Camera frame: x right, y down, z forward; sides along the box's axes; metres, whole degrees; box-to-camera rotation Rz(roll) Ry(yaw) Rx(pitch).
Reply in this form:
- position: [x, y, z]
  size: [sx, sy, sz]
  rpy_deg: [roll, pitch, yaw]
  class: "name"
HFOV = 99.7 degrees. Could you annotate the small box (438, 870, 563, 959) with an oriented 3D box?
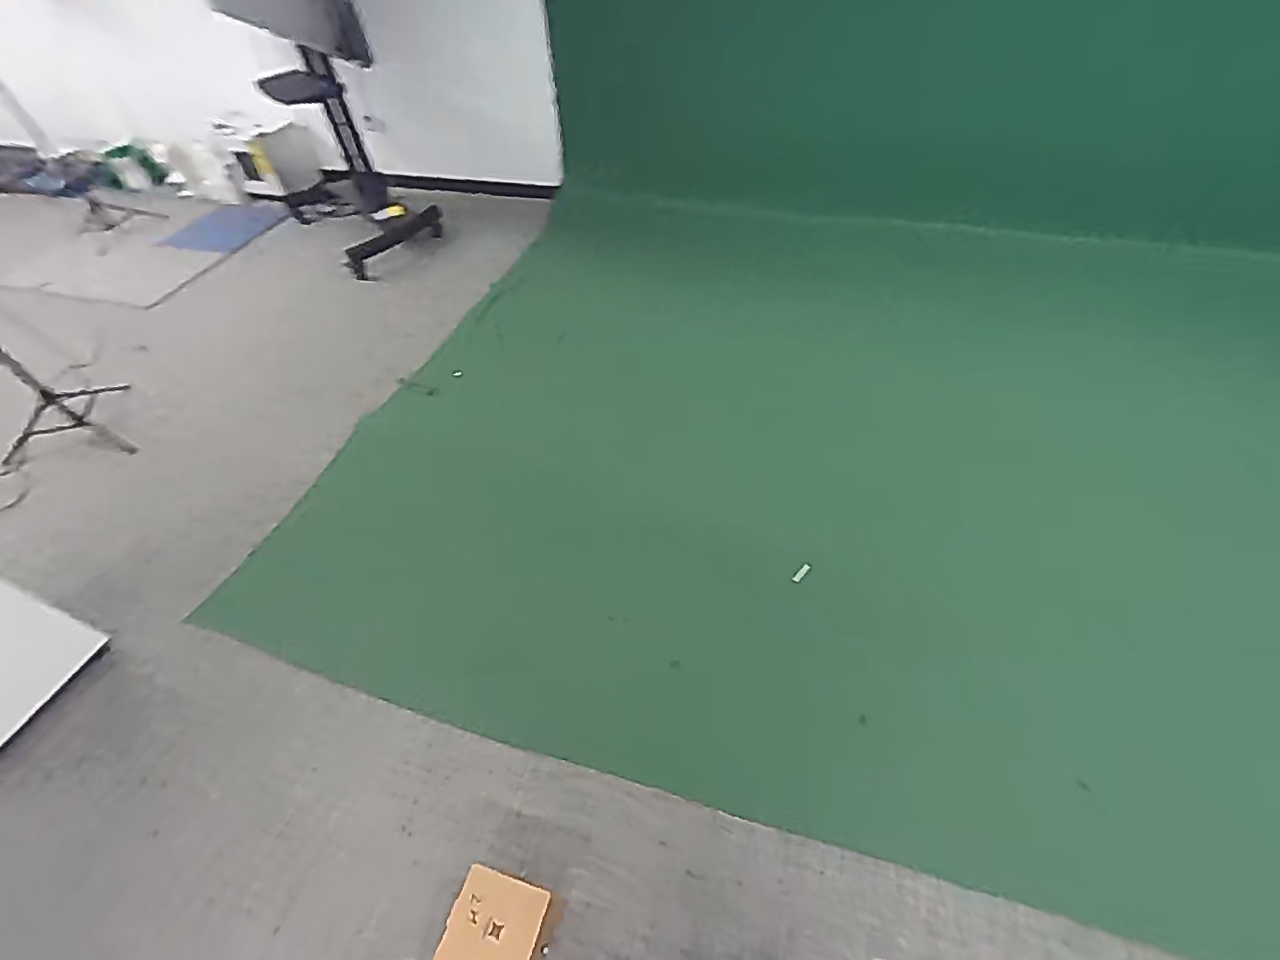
- position: [-0.266, 0.904, 1.068]
  size: [0.179, 0.176, 0.168]
  rpy_deg: [11, 50, 13]
  class: "small box"
